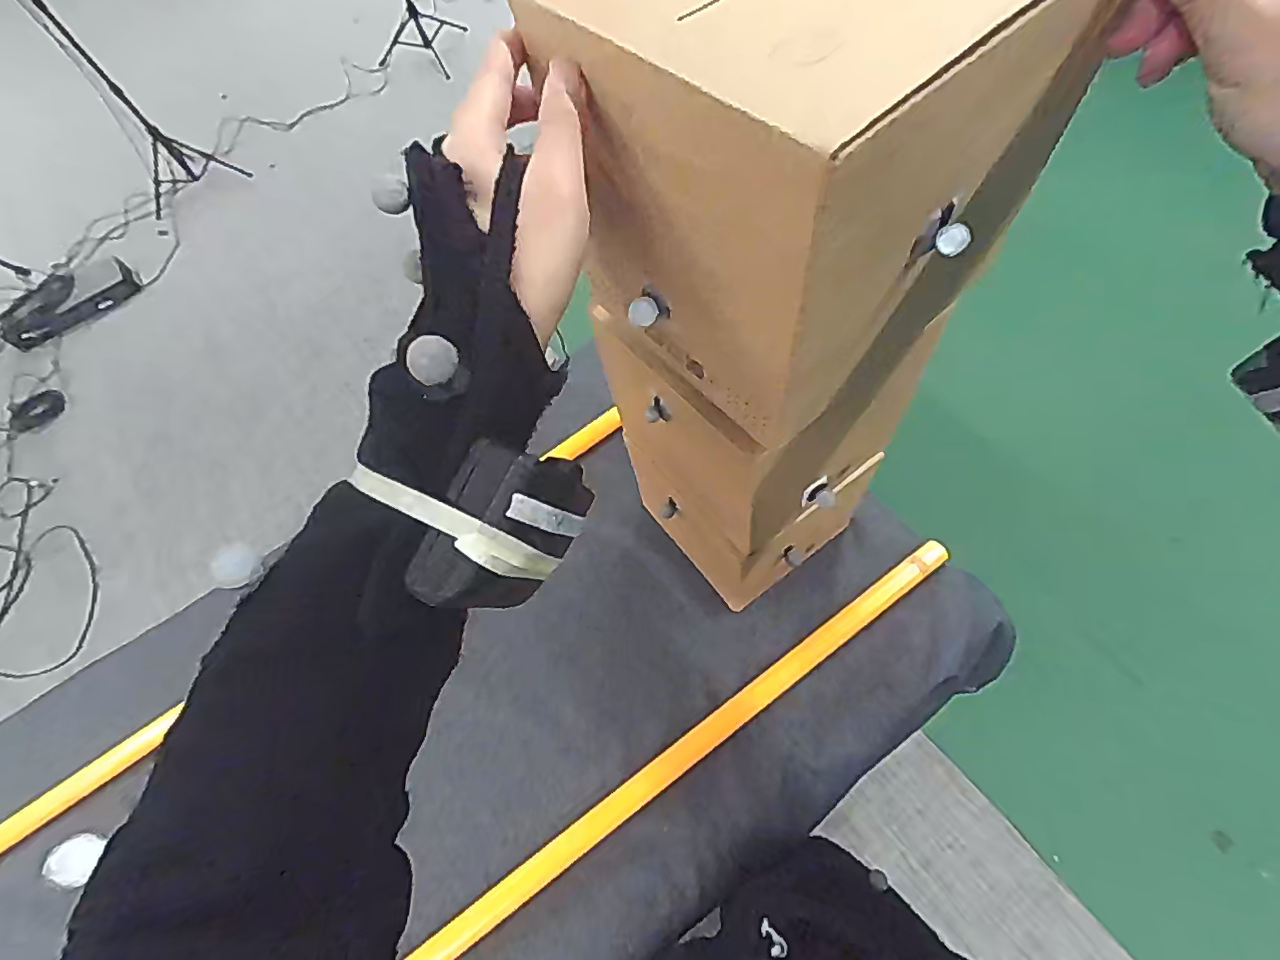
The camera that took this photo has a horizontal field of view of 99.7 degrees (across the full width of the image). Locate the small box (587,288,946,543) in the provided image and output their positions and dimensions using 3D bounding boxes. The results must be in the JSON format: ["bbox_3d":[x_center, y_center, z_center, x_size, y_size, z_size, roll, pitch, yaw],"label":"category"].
[{"bbox_3d":[0.087,-0.080,0.426,0.168,0.176,0.179,-38,63,-10],"label":"small box"}]

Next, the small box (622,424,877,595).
[{"bbox_3d":[0.108,0.001,0.566,0.168,0.176,0.179,-36,62,-10],"label":"small box"}]

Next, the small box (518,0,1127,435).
[{"bbox_3d":[0.073,-0.158,0.266,0.179,0.176,0.168,-39,64,-11],"label":"small box"}]
